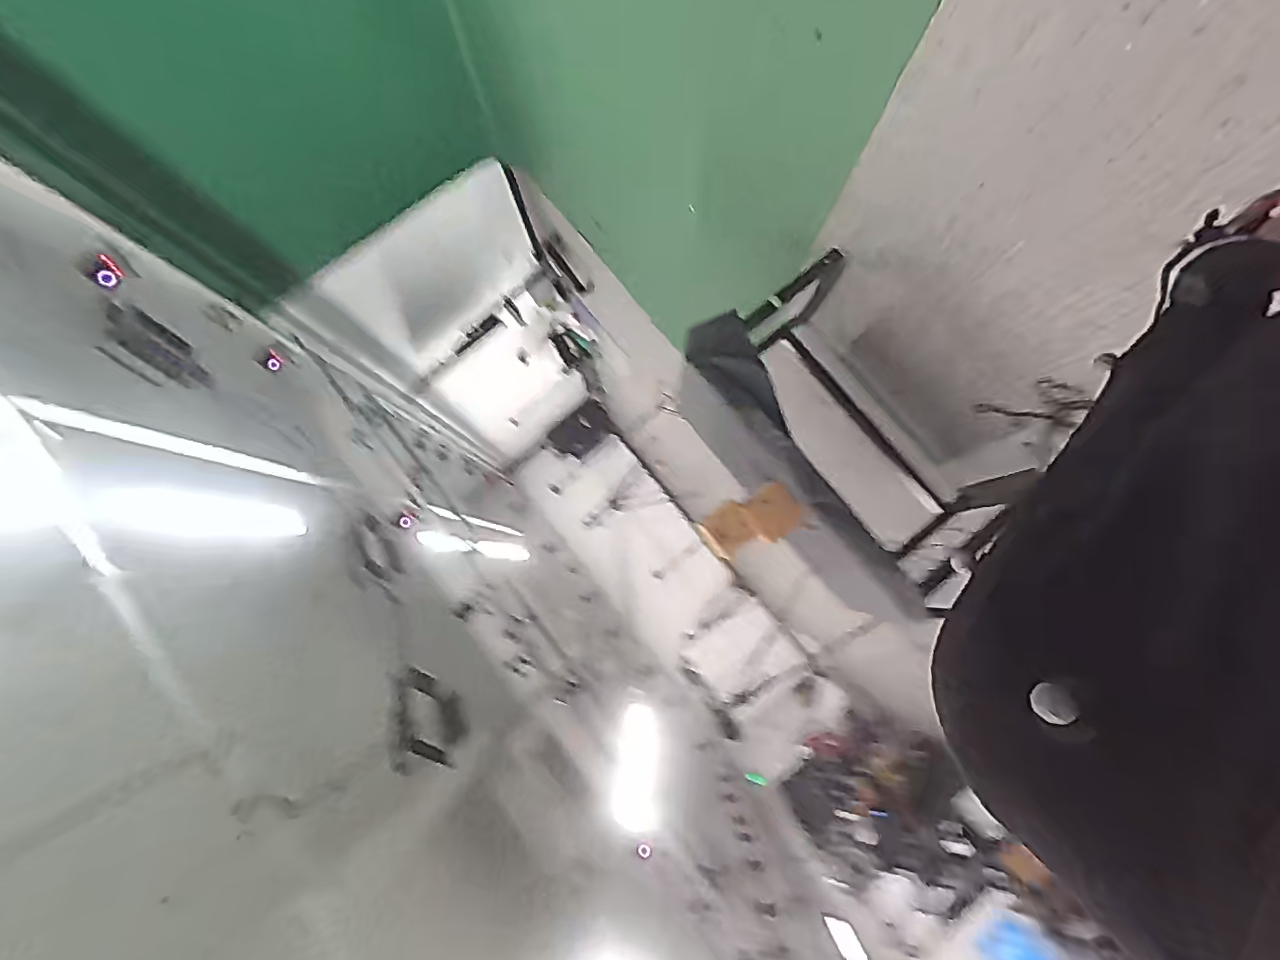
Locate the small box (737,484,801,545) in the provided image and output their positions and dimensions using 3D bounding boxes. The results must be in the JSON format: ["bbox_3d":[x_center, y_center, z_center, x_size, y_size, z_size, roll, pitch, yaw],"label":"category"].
[{"bbox_3d":[0.484,0.126,2.082,0.179,0.176,0.168,52,176,0],"label":"small box"}]

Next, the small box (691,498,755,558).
[{"bbox_3d":[0.322,0.183,2.098,0.168,0.176,0.179,53,175,2],"label":"small box"}]
